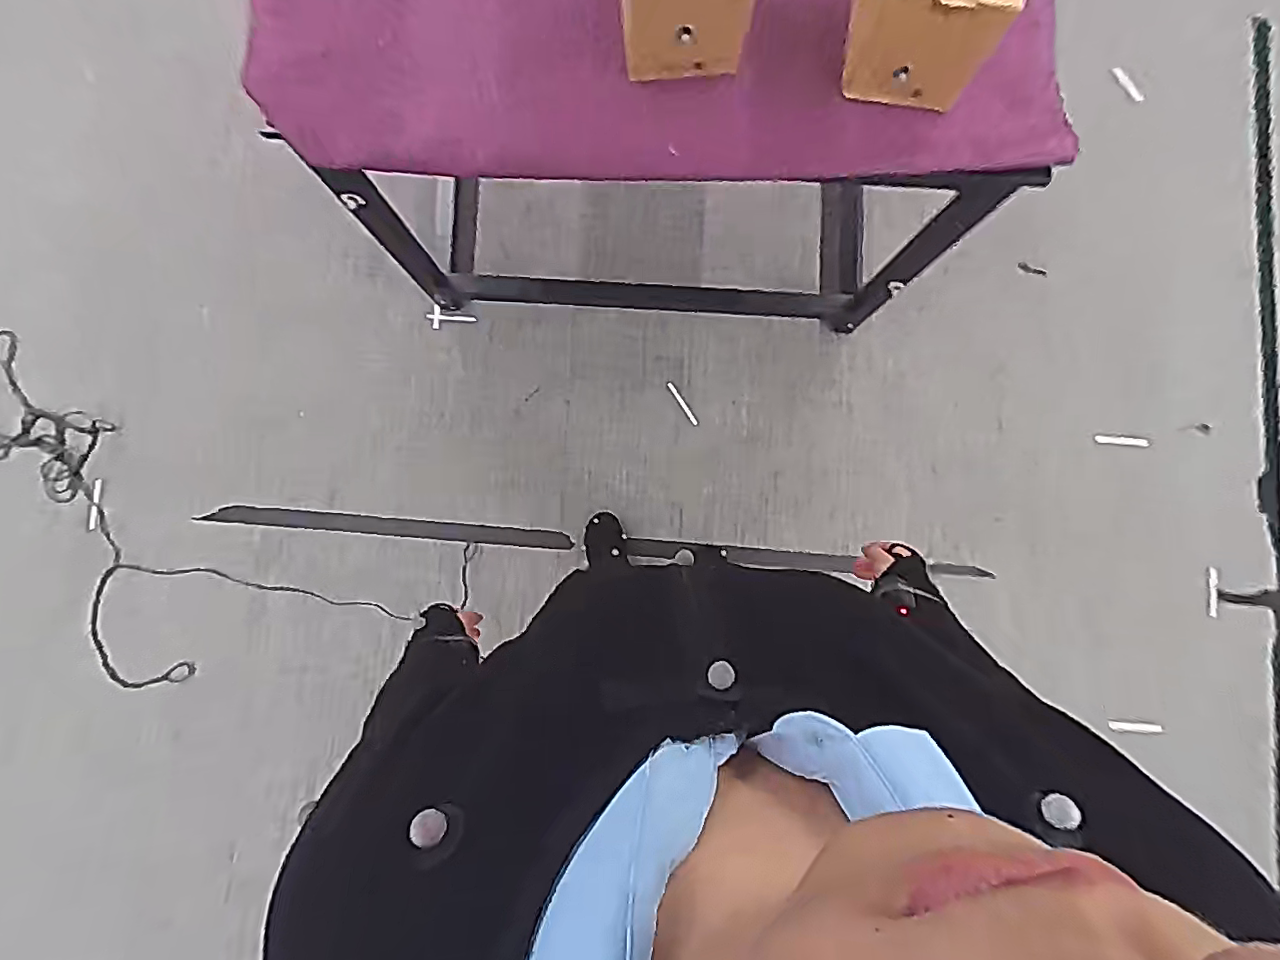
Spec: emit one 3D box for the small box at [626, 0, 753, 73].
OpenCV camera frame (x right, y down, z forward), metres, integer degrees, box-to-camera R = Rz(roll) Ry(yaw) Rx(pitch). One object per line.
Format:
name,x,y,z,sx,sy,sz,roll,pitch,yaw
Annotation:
small box,0.065,-0.705,0.751,0.168,0.176,0.179,-5,86,-2

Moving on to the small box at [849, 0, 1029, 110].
small box,0.409,-0.670,0.755,0.168,0.176,0.179,8,85,0
